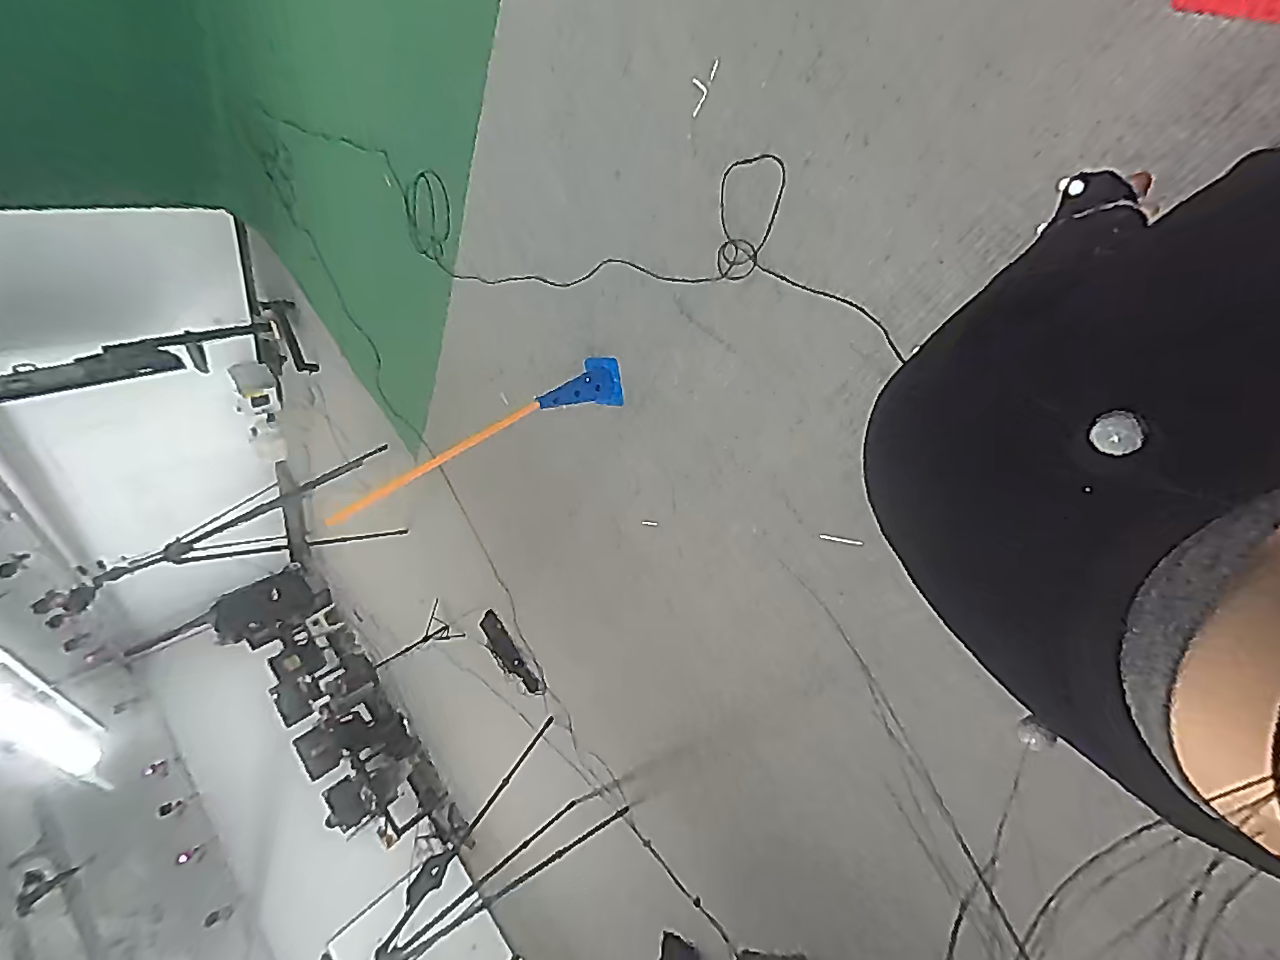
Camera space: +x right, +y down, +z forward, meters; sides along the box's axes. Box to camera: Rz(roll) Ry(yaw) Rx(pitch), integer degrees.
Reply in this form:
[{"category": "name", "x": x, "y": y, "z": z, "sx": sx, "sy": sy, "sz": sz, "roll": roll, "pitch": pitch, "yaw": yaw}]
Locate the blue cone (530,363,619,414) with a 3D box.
[{"category": "blue cone", "x": -0.274, "y": -0.335, "z": 2.166, "sx": 0.192, "sy": 0.380, "sz": 0.193, "roll": 10, "pitch": 119, "yaw": 42}]
